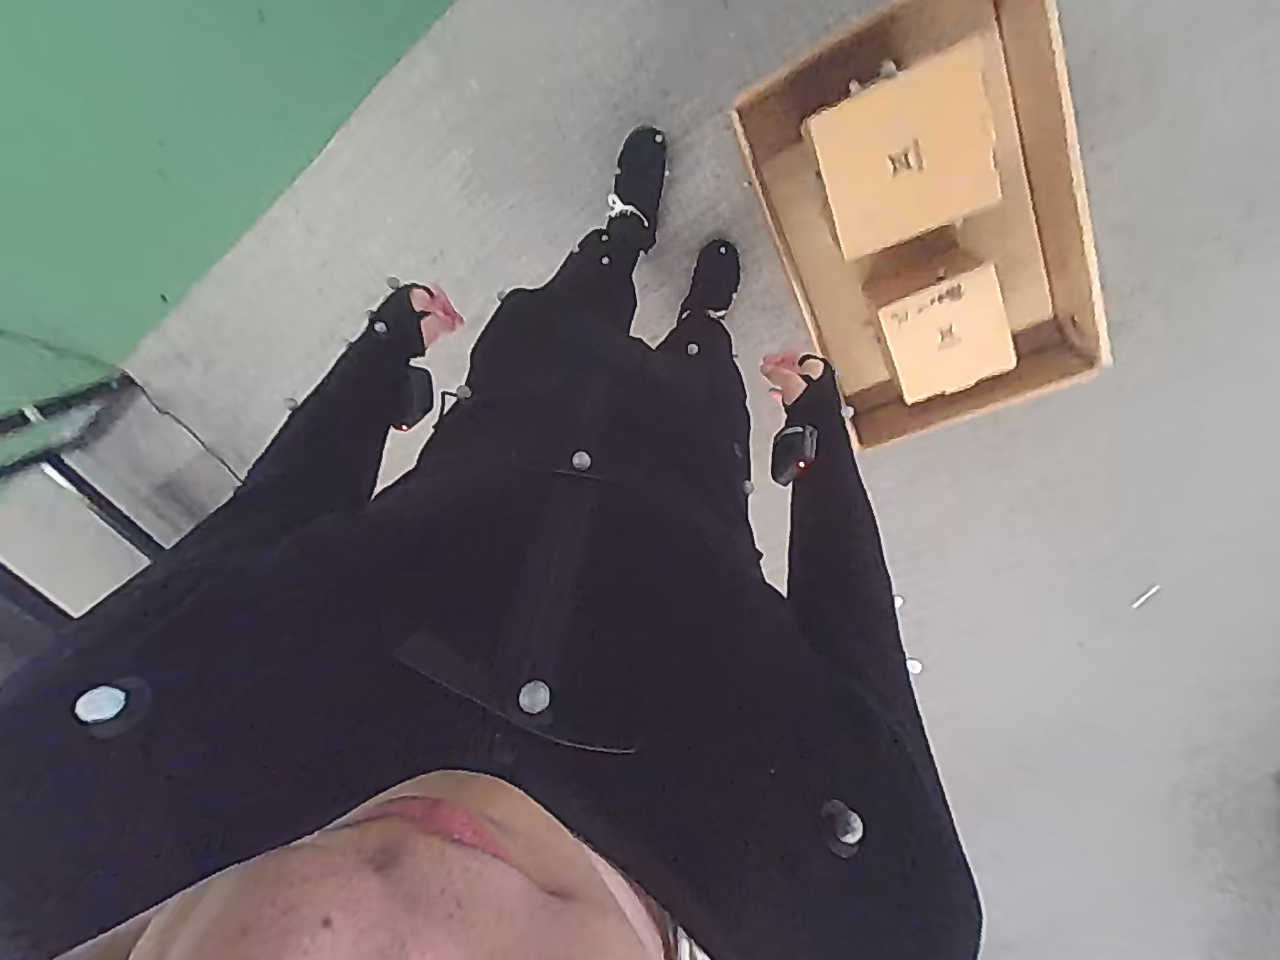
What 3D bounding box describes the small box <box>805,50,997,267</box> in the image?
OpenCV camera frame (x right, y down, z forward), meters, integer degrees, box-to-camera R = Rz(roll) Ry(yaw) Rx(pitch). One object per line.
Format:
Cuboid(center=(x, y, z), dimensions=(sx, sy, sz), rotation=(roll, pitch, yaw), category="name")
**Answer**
Cuboid(center=(0.315, -0.393, 0.685), dimensions=(0.179, 0.176, 0.168), rotation=(-17, 115, 20), category="small box")
